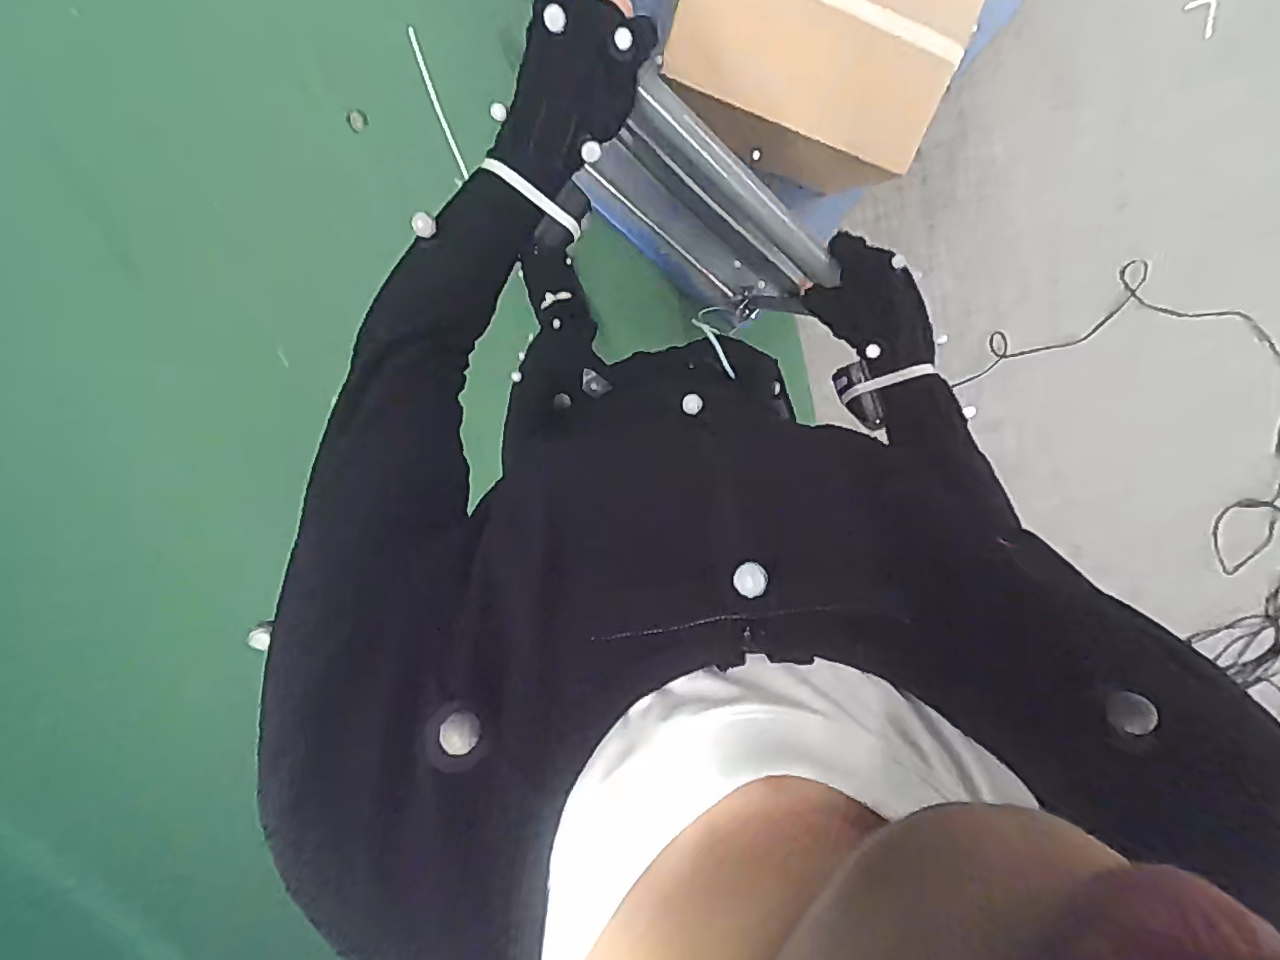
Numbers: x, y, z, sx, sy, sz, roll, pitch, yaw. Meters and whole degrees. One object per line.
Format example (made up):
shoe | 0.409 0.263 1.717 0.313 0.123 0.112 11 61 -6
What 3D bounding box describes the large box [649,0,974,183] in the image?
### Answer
large box | 0.254 -0.726 0.880 0.408 0.320 0.320 17 111 -9
